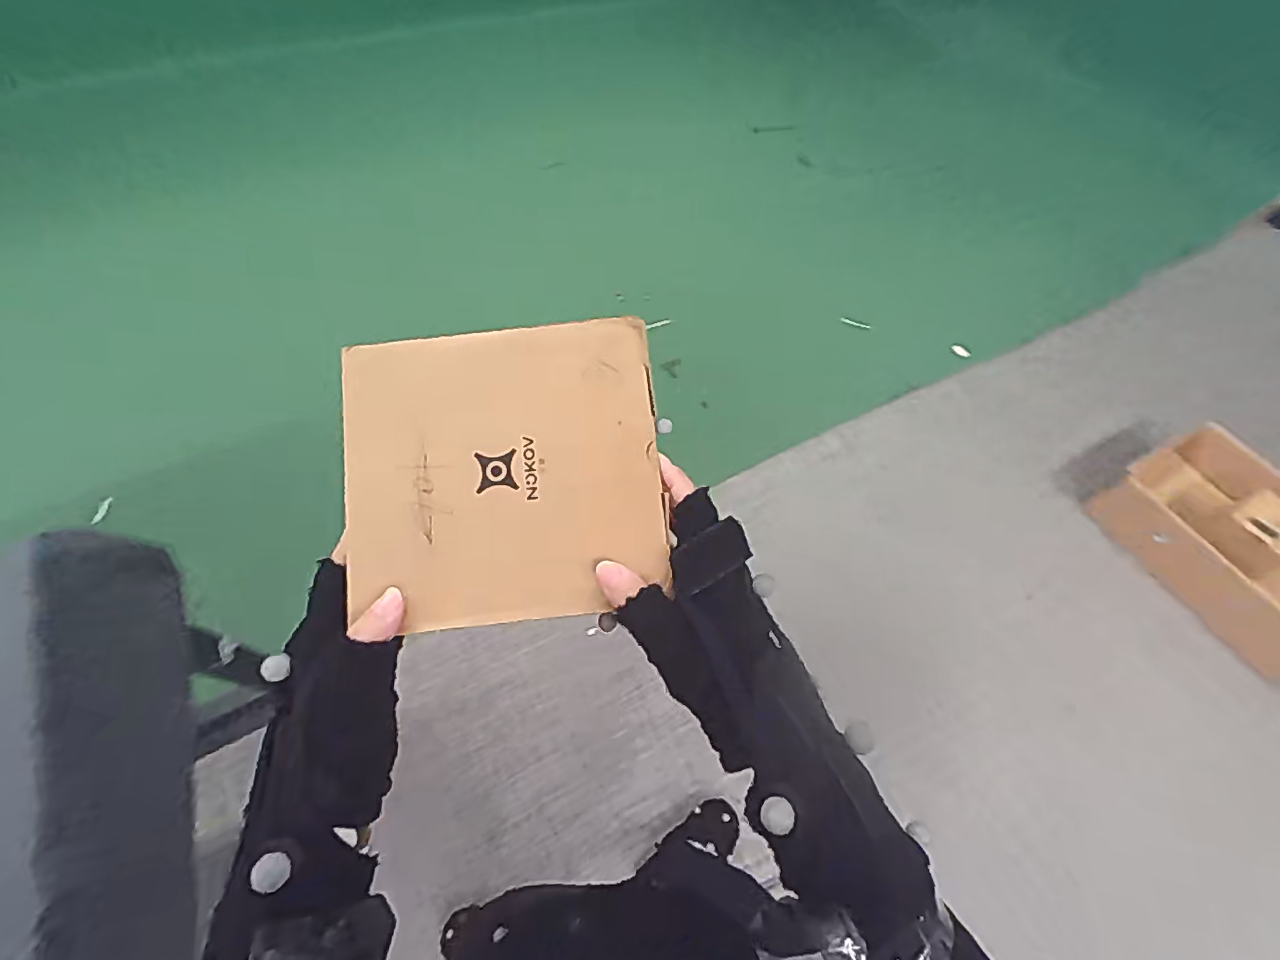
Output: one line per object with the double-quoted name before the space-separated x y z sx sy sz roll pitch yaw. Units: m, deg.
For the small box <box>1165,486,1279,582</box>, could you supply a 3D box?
"small box" 1.598 0.151 1.464 0.179 0.176 0.168 -25 65 -17
